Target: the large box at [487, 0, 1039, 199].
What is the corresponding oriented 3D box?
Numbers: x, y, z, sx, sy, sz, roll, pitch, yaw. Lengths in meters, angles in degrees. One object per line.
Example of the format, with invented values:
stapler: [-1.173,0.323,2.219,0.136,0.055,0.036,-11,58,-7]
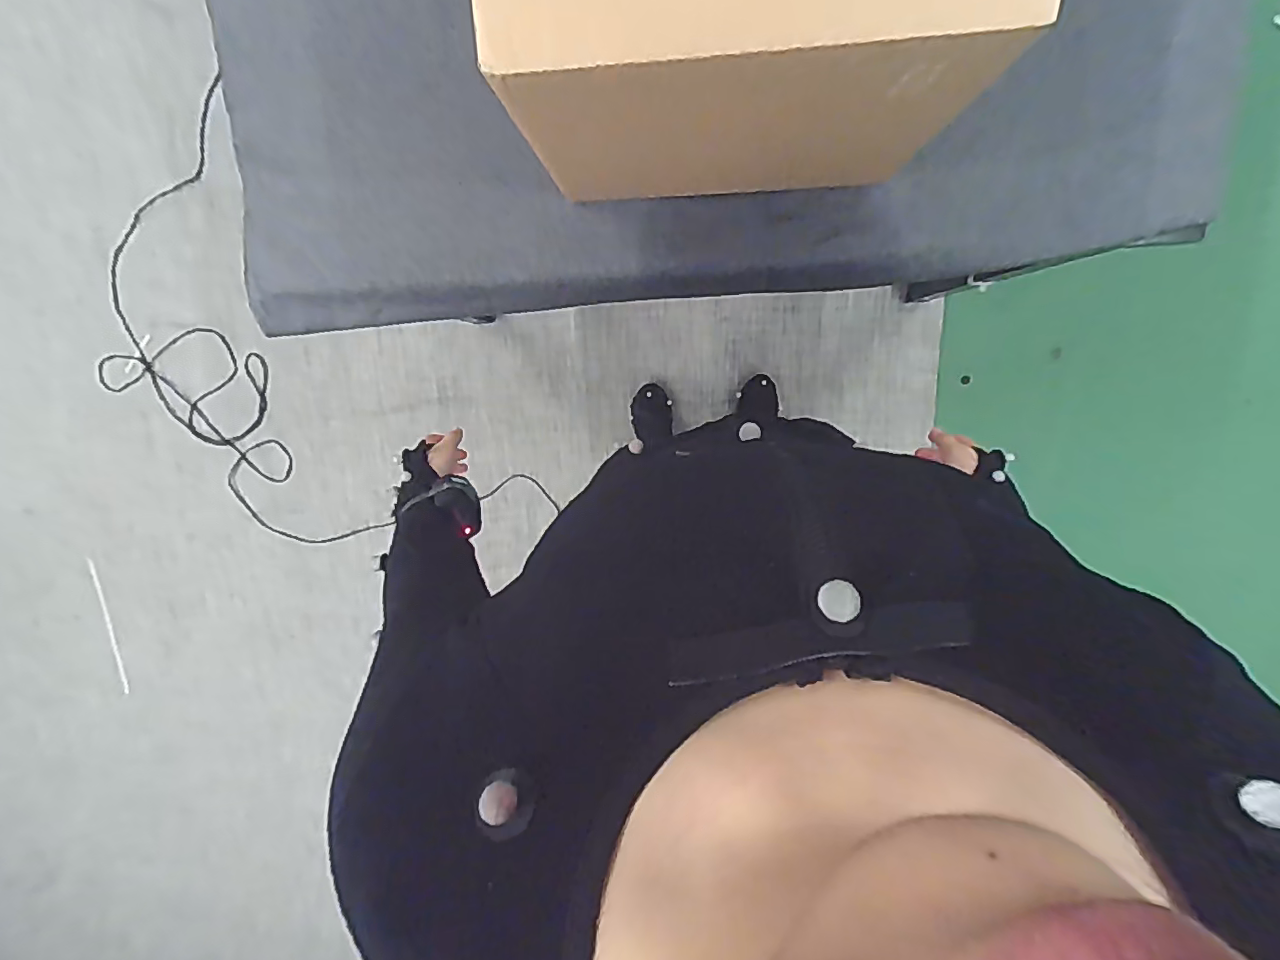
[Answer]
large box: [0.085,-0.494,0.515,0.408,0.320,0.320,-2,102,4]
